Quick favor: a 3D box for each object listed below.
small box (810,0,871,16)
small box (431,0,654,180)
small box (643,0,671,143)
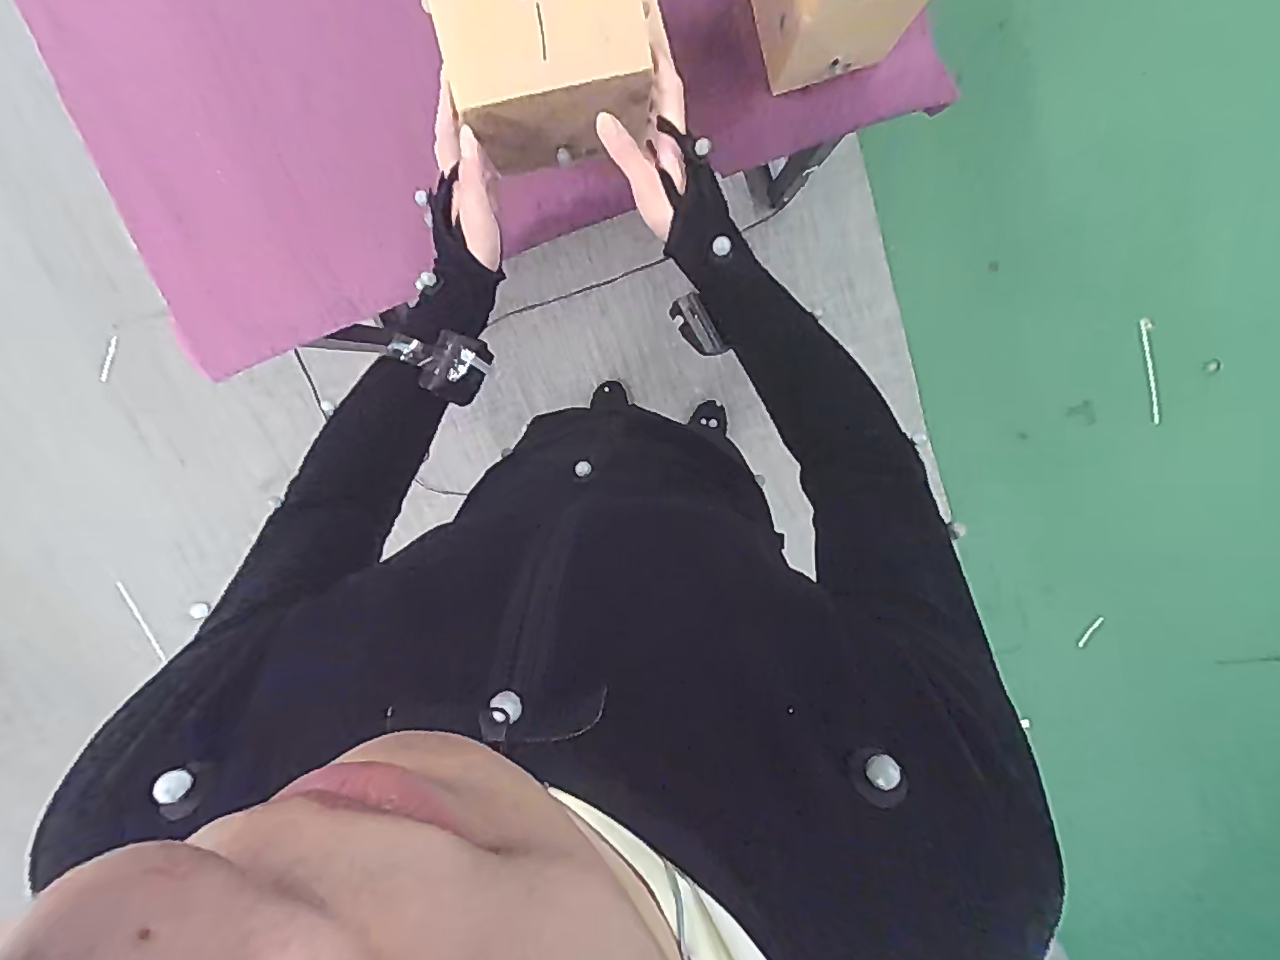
[{"bbox_3d":[0.249,-0.622,0.527,0.168,0.176,0.179,-17,100,4],"label":"small box"},{"bbox_3d":[-0.087,-0.407,0.494,0.168,0.176,0.179,-11,103,1],"label":"small box"},{"bbox_3d":[-0.060,-0.551,0.712,0.168,0.176,0.179,-16,99,3],"label":"small box"}]
